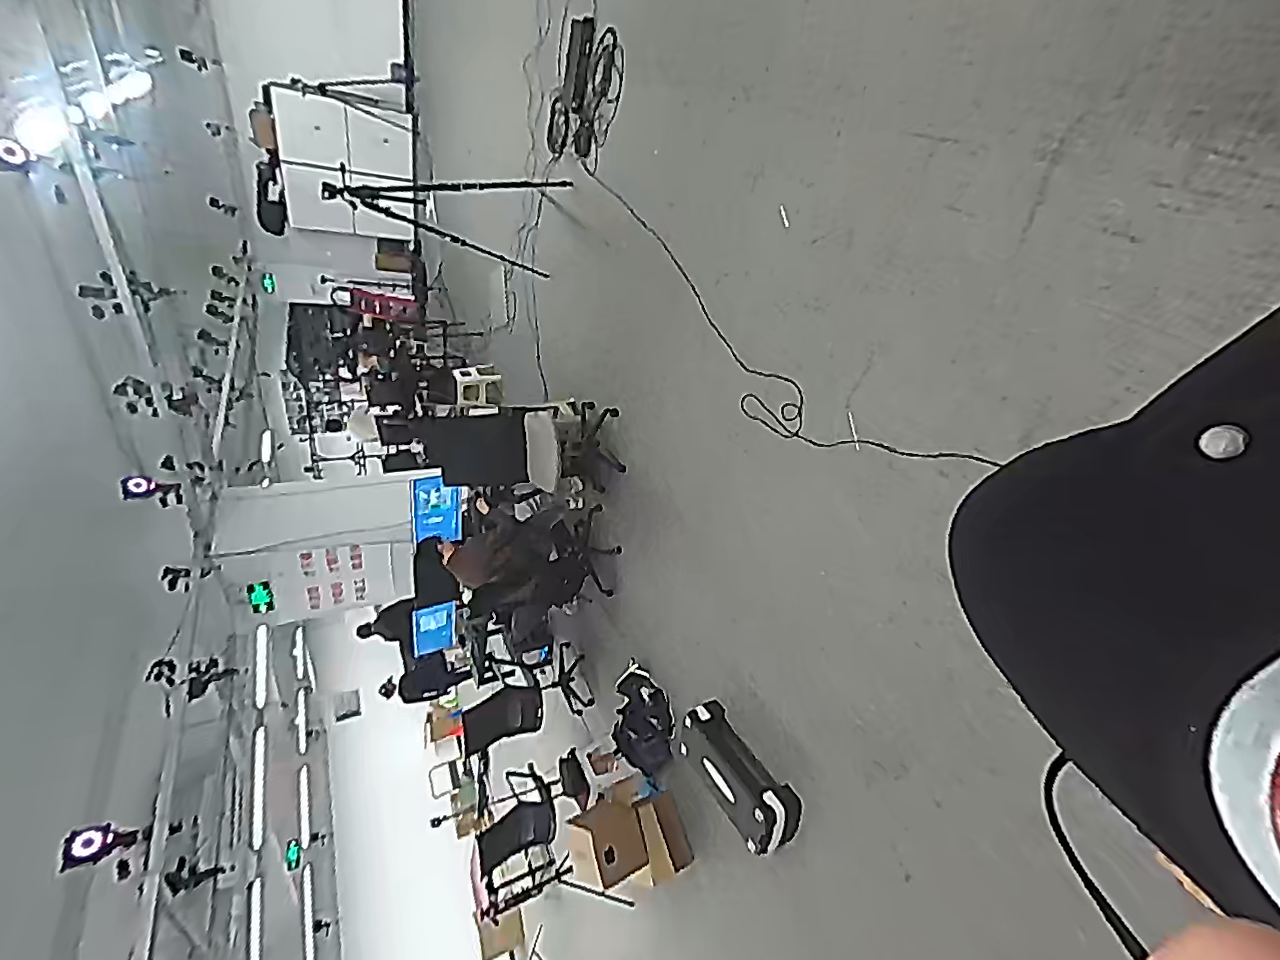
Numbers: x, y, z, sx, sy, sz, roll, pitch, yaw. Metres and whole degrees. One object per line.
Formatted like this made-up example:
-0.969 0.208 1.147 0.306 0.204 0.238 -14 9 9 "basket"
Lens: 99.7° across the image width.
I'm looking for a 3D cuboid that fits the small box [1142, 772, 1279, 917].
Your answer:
1.249 0.771 1.156 0.168 0.176 0.179 46 134 44 "small box"
